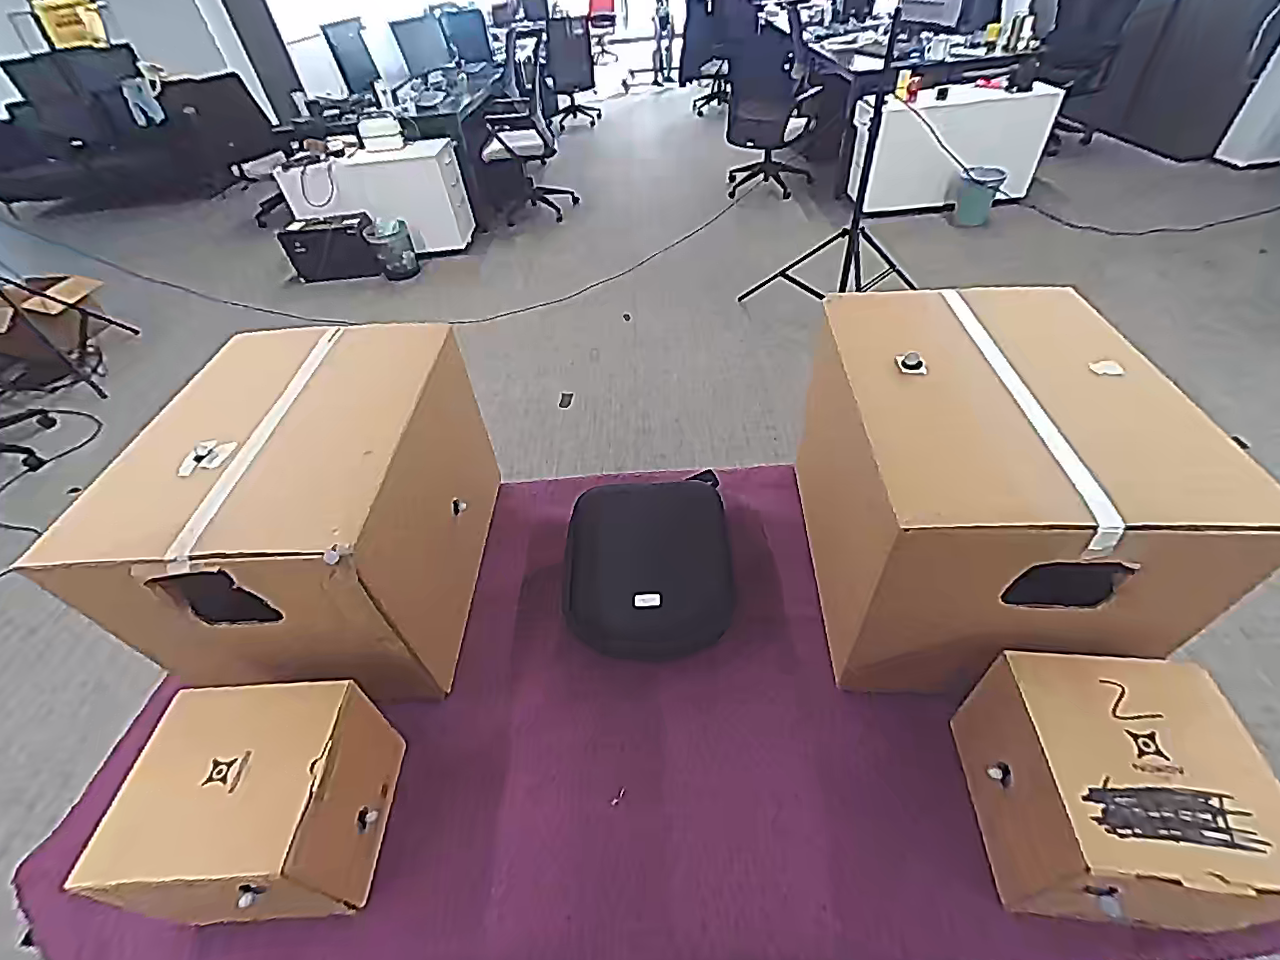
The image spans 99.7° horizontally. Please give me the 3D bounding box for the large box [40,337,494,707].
[{"bbox_3d":[-0.409,0.049,0.741,0.320,0.320,0.408,-4,47,2],"label":"large box"}]
